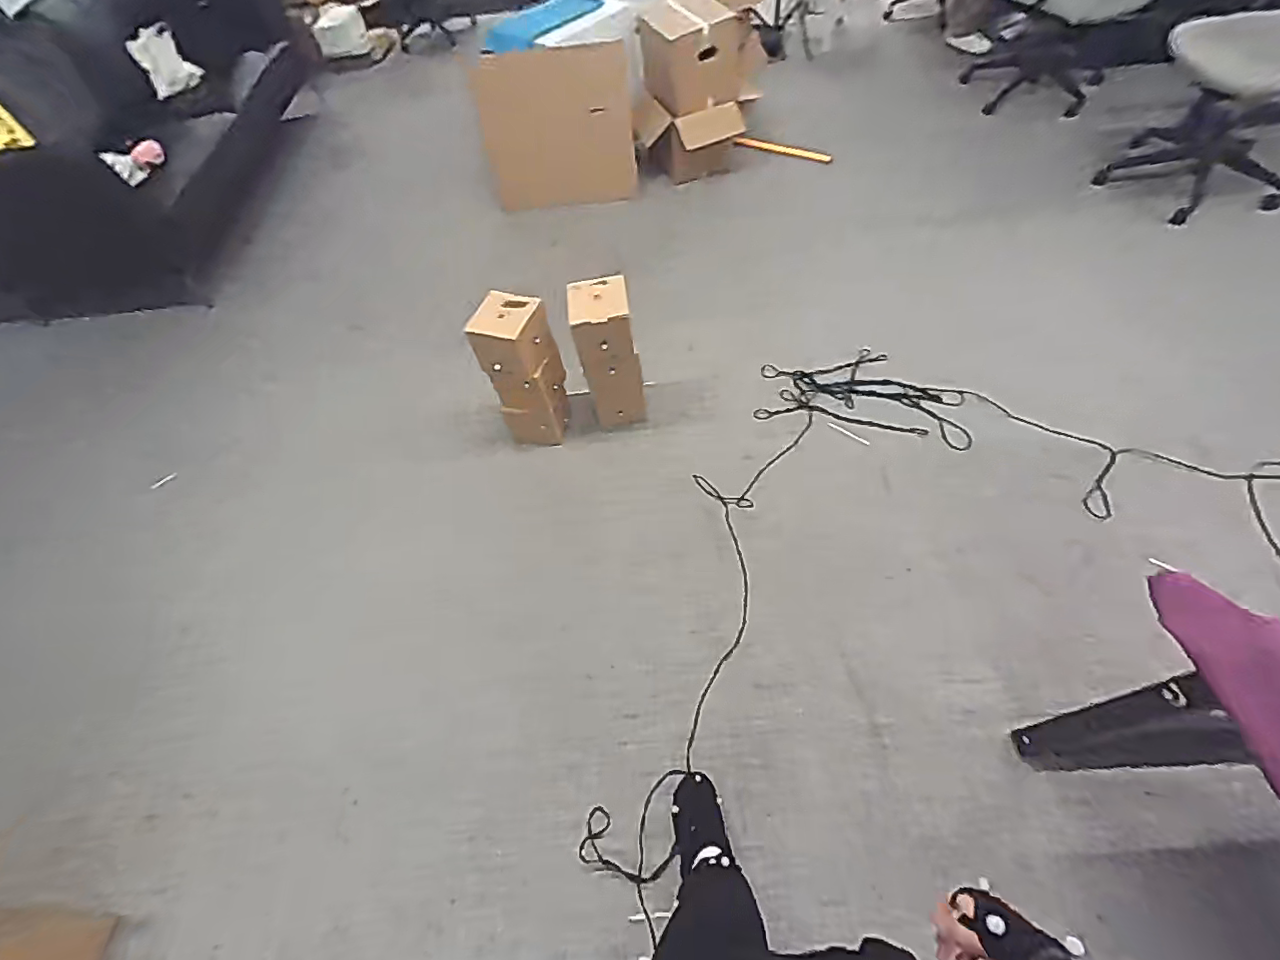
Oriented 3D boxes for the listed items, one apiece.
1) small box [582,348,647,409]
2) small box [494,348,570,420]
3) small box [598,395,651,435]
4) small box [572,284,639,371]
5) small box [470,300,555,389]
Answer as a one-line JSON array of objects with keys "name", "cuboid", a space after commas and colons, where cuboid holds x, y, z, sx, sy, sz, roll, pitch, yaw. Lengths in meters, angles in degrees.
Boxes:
[{"name": "small box", "cuboid": [-0.085, -0.351, 1.718, 0.179, 0.176, 0.168, -15, 57, -2]}, {"name": "small box", "cuboid": [-0.344, -0.312, 1.729, 0.179, 0.176, 0.168, 10, 57, 13]}, {"name": "small box", "cuboid": [-0.061, -0.272, 1.859, 0.168, 0.176, 0.179, -11, 55, 0]}, {"name": "small box", "cuboid": [-0.100, -0.437, 1.580, 0.168, 0.176, 0.179, -9, 58, 2]}, {"name": "small box", "cuboid": [-0.363, -0.397, 1.590, 0.168, 0.176, 0.179, 14, 59, 16]}]
